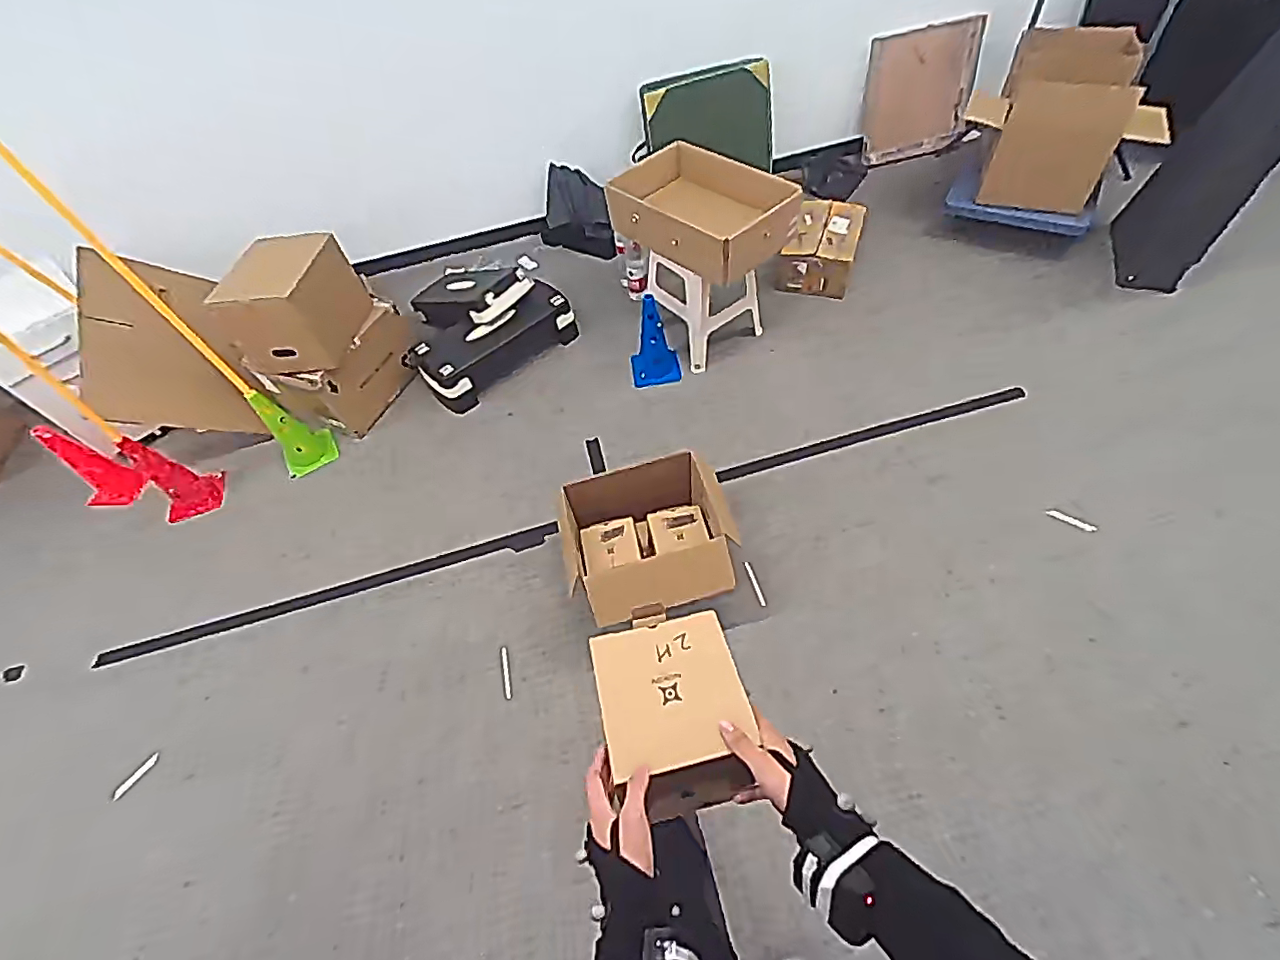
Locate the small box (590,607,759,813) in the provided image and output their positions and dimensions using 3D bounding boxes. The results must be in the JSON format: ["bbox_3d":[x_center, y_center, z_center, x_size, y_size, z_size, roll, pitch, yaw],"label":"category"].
[{"bbox_3d":[0.038,0.293,0.679,0.168,0.176,0.179,-11,44,-7],"label":"small box"}]
